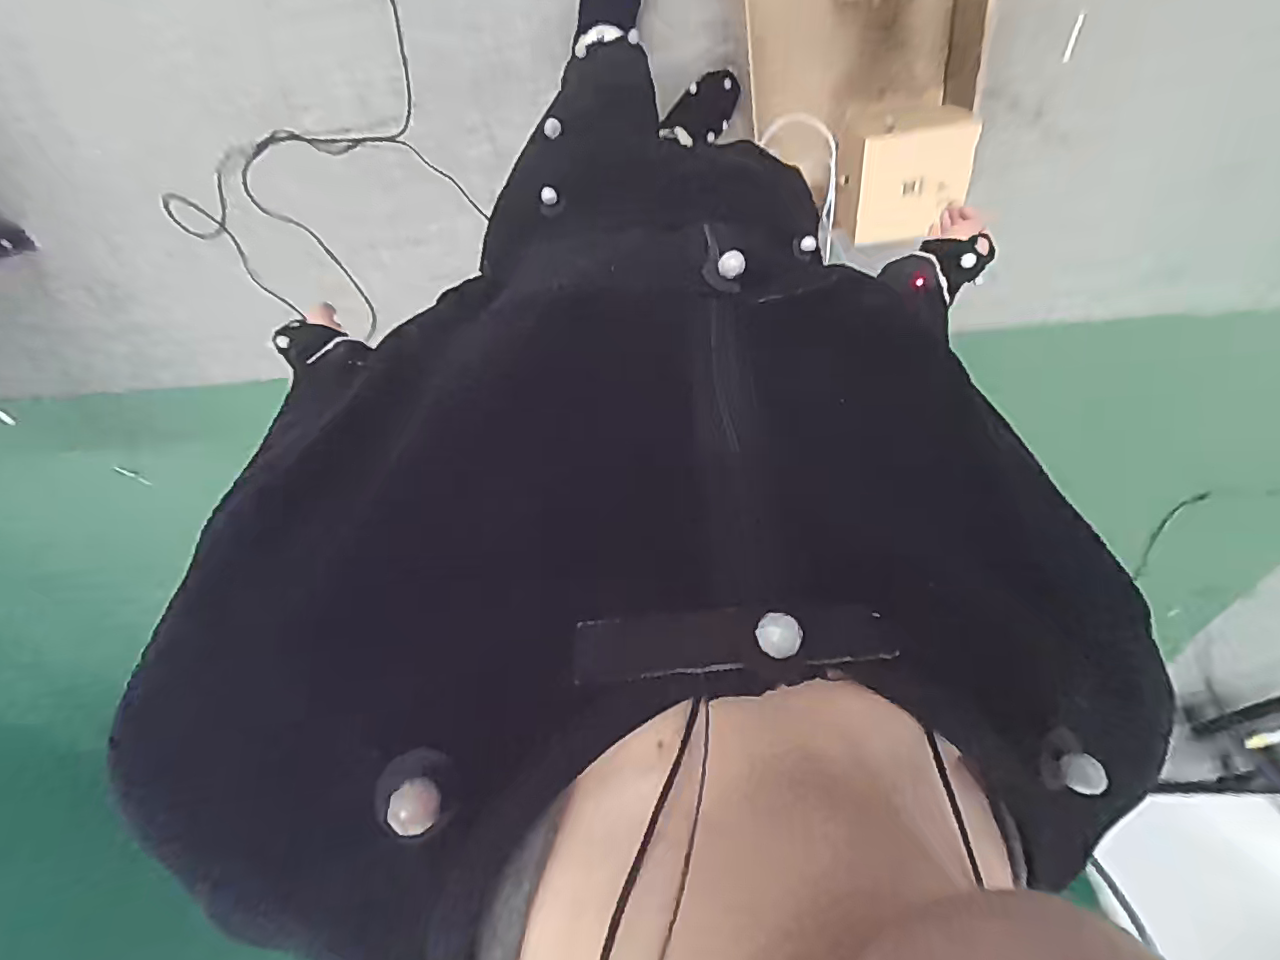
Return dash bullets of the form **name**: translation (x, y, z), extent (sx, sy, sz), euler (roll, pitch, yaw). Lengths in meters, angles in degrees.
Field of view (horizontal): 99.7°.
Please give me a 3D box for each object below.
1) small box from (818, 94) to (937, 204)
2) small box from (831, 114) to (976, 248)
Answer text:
- **small box**: translation (0.455, -0.647, 1.068), extent (0.168, 0.176, 0.179), euler (-4, 130, 8)
- **small box**: translation (0.446, -0.527, 0.953), extent (0.179, 0.176, 0.168), euler (-4, 132, 7)
